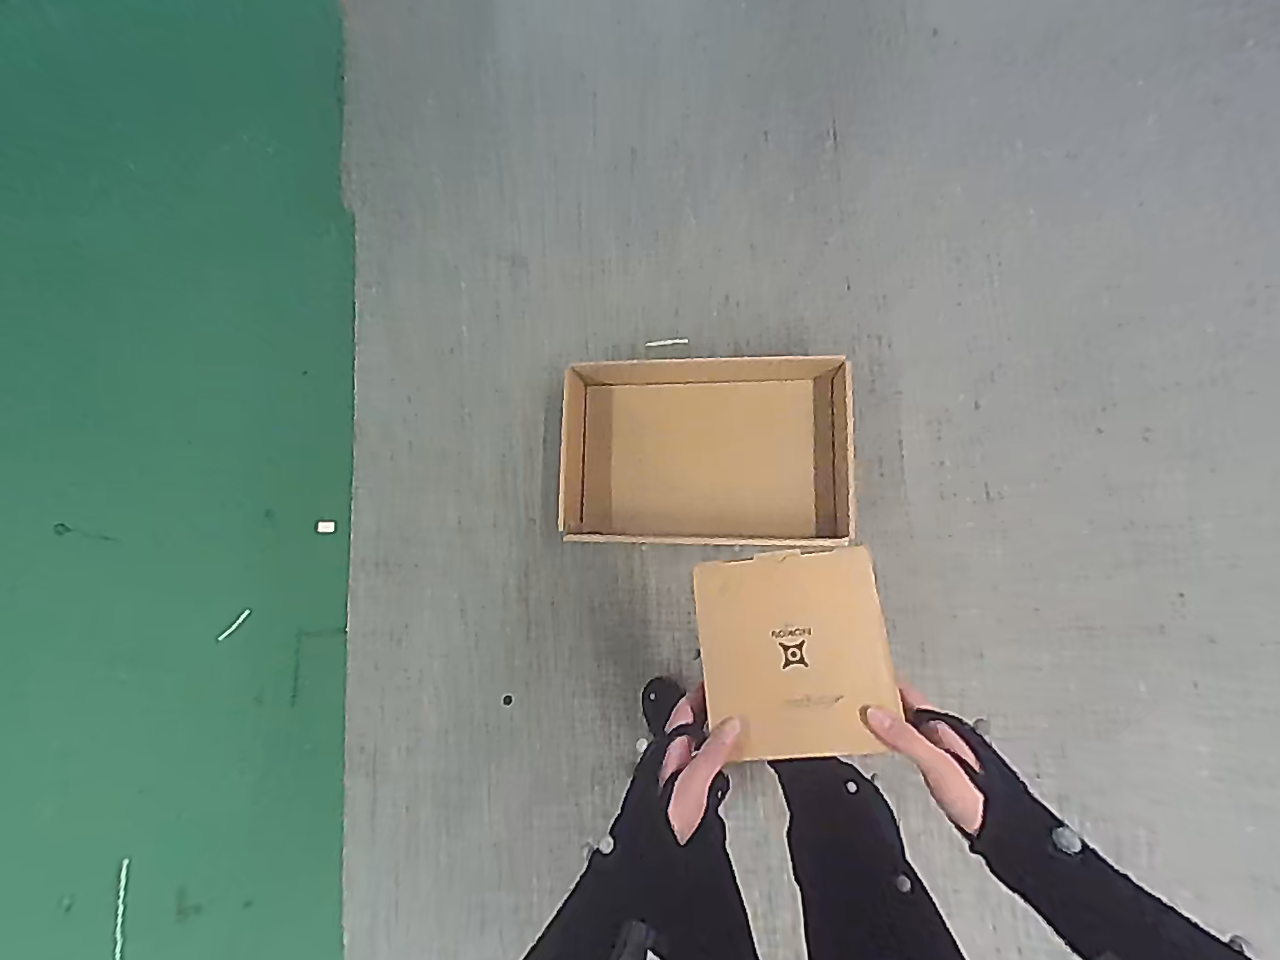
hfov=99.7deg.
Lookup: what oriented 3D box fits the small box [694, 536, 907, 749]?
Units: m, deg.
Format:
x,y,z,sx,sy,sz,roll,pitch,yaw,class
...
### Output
x,y,z,sx,sy,sz,roll,pitch,yaw,class
0.146,0.167,0.558,0.168,0.176,0.179,-7,71,6,small box
